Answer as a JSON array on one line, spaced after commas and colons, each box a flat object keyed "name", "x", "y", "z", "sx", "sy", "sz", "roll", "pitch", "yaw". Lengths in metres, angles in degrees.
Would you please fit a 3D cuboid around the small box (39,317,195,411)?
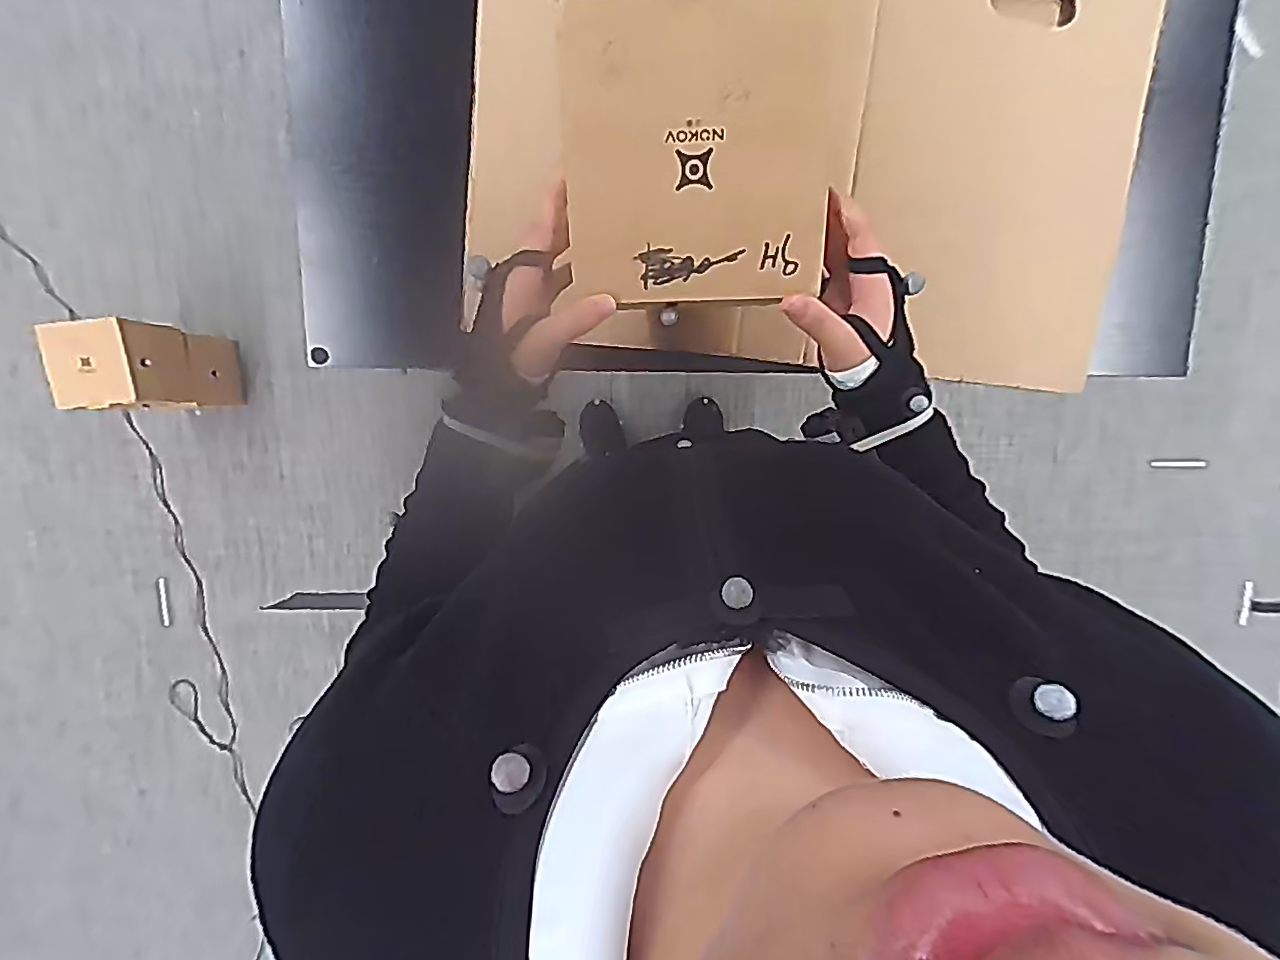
[{"name": "small box", "x": -1.127, "y": -0.248, "z": 1.183, "sx": 0.168, "sy": 0.176, "sz": 0.179, "roll": -7, "pitch": 97, "yaw": -1}]

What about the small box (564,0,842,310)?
[{"name": "small box", "x": 0.040, "y": -0.226, "z": 0.411, "sx": 0.168, "sy": 0.176, "sz": 0.179, "roll": -1, "pitch": 106, "yaw": 3}]

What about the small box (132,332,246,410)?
[{"name": "small box", "x": -1.129, "y": -0.265, "z": 1.345, "sx": 0.168, "sy": 0.176, "sz": 0.179, "roll": -4, "pitch": 99, "yaw": -1}]
